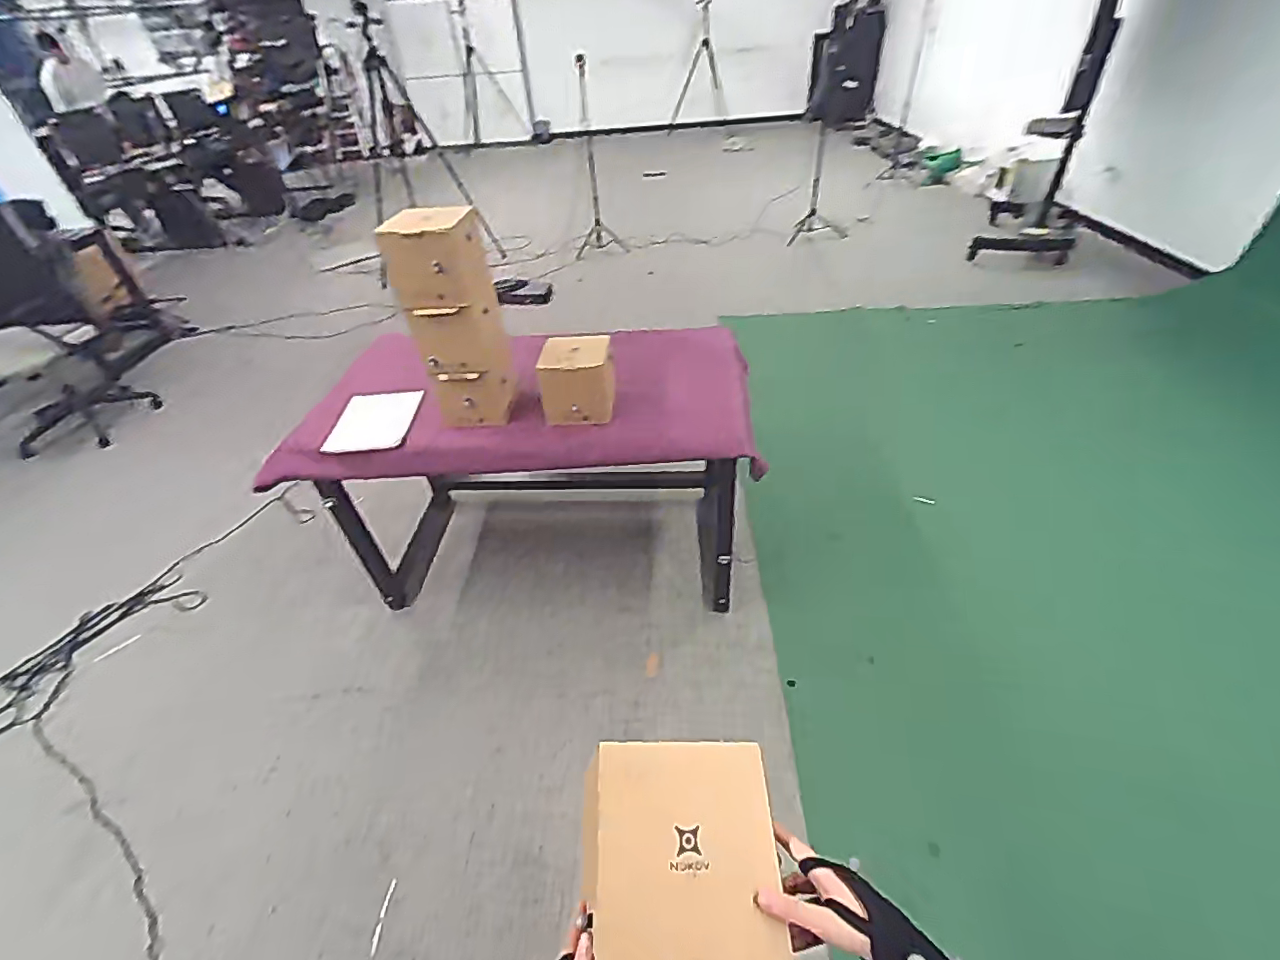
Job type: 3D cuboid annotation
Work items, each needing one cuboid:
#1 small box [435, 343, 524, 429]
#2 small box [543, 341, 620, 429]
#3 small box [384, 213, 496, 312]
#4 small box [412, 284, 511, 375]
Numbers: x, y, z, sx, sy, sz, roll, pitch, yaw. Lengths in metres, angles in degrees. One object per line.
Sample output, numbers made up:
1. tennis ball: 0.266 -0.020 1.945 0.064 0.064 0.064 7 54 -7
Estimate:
1. small box: -0.419 -0.249 1.450 0.168 0.176 0.179 0 41 5
2. small box: -0.146 -0.250 1.420 0.168 0.176 0.179 -1 40 6
3. small box: -0.441 -0.491 1.230 0.168 0.176 0.179 1 40 5
4. small box: -0.430 -0.370 1.339 0.168 0.176 0.179 0 39 5
